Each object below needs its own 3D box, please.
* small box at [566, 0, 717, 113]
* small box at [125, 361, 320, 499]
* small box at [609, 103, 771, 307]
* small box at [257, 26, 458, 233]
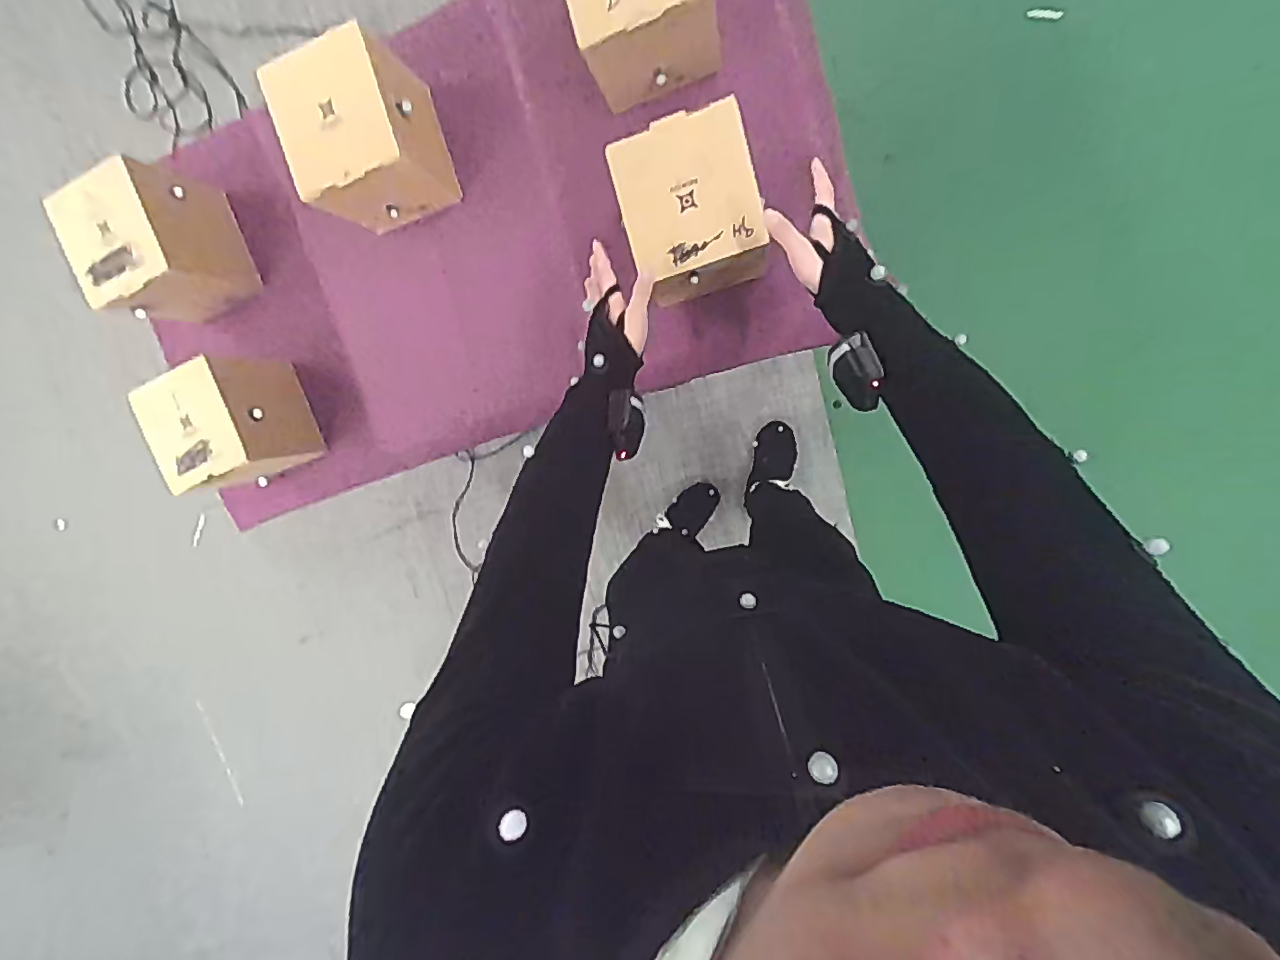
[{"bbox_3d":[-0.002,-0.625,0.696,0.168,0.176,0.179,-14,98,14],"label":"small box"},{"bbox_3d":[-0.685,-0.086,0.908,0.168,0.176,0.179,-20,94,12],"label":"small box"},{"bbox_3d":[0.073,-0.353,0.732,0.168,0.176,0.179,-14,96,13],"label":"small box"},{"bbox_3d":[-0.399,-0.494,0.793,0.168,0.176,0.179,-15,98,12],"label":"small box"}]
